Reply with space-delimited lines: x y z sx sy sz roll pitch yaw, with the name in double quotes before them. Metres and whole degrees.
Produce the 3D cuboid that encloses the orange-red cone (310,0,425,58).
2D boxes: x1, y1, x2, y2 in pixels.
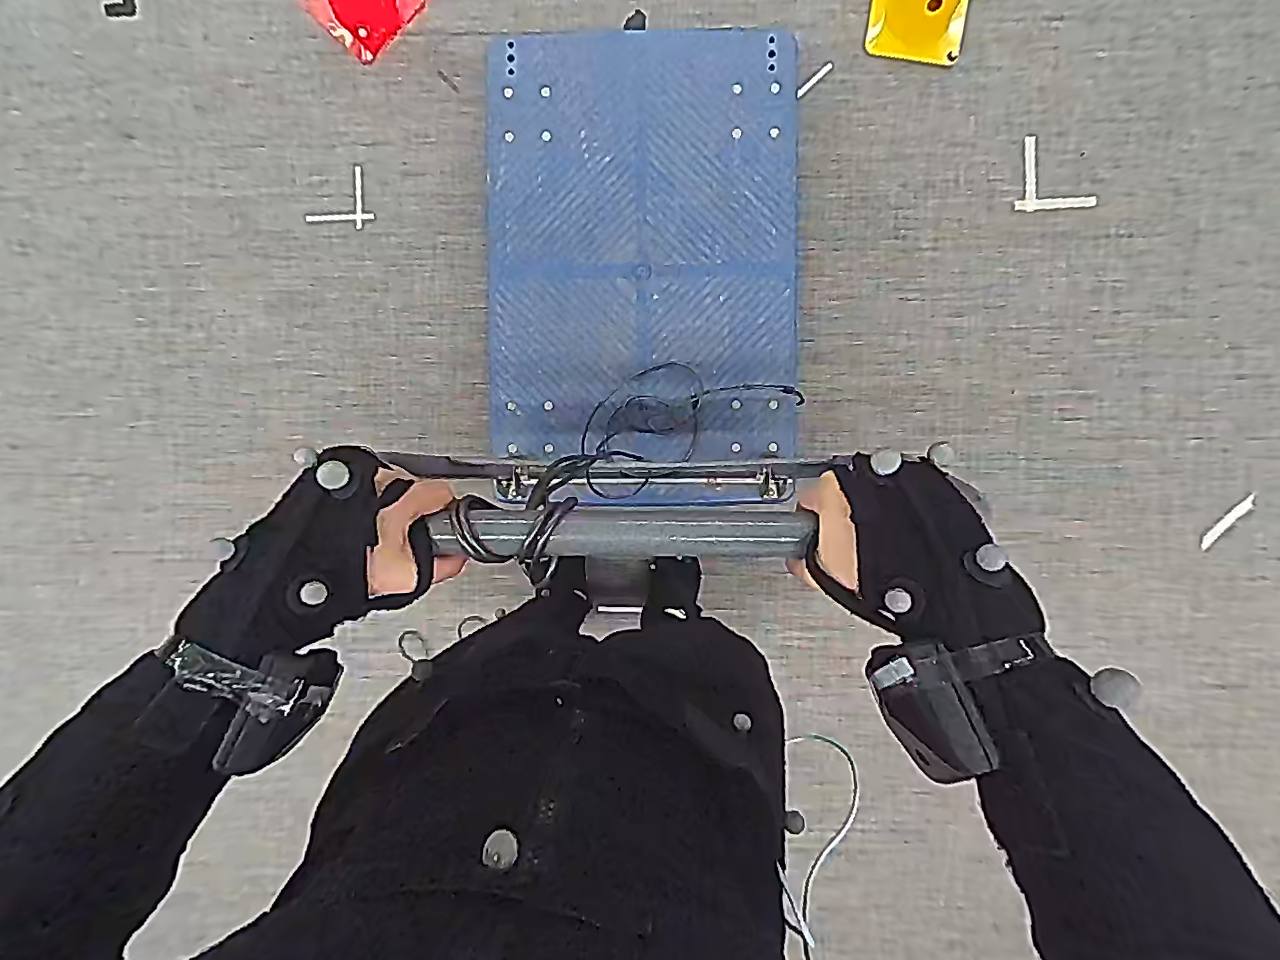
"orange-red cone" -0.589 -1.036 0.997 0.199 0.360 0.198 -44 91 0
